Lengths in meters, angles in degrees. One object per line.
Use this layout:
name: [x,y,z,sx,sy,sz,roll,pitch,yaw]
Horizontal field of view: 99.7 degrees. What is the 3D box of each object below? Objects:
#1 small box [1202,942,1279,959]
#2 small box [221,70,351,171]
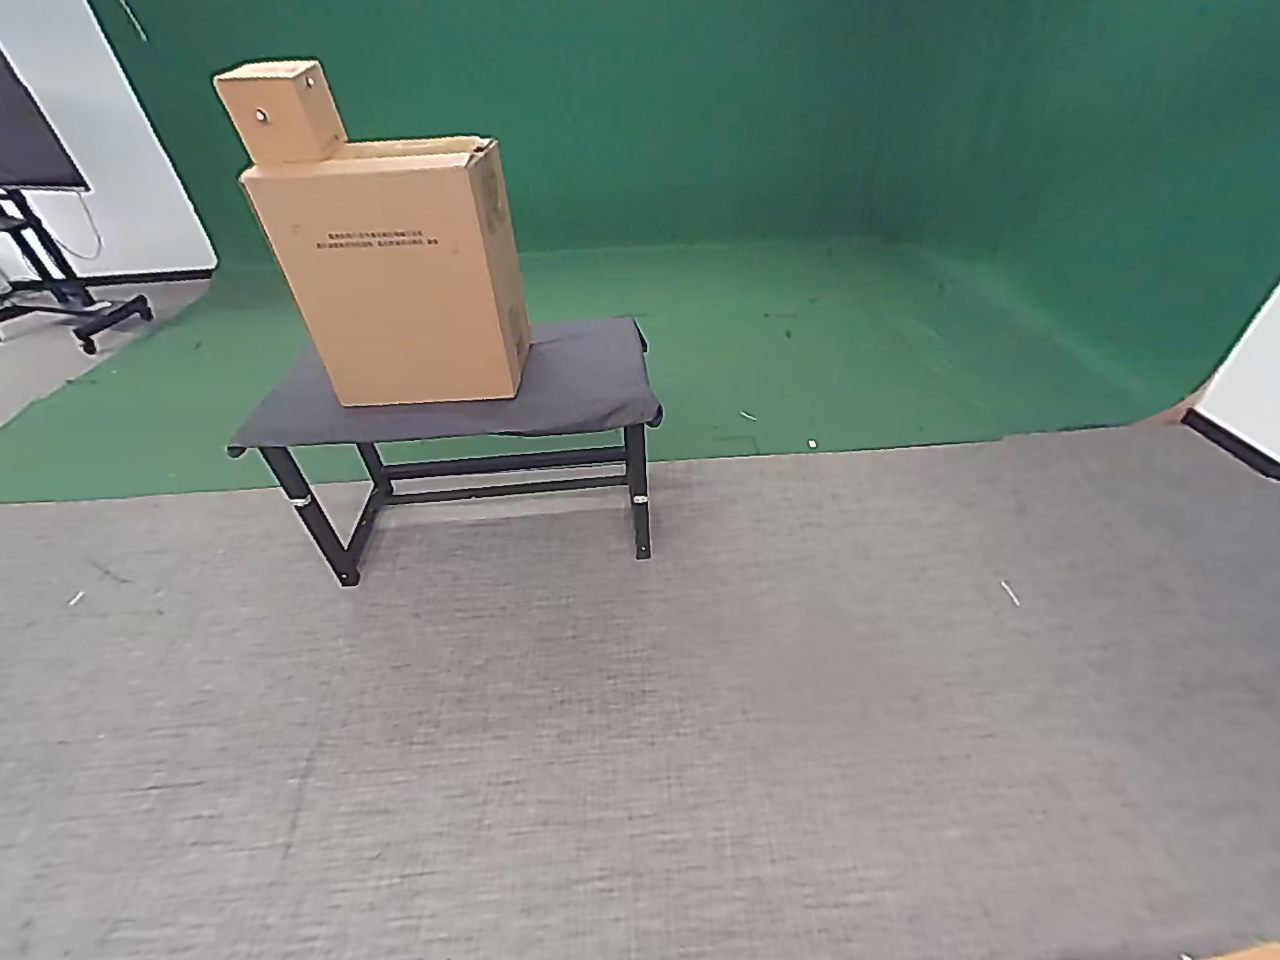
small box: [0.926,0.838,0.807,0.168,0.176,0.179,-7,36,-6]
small box: [-0.838,-0.863,1.302,0.179,0.176,0.168,-3,47,0]
